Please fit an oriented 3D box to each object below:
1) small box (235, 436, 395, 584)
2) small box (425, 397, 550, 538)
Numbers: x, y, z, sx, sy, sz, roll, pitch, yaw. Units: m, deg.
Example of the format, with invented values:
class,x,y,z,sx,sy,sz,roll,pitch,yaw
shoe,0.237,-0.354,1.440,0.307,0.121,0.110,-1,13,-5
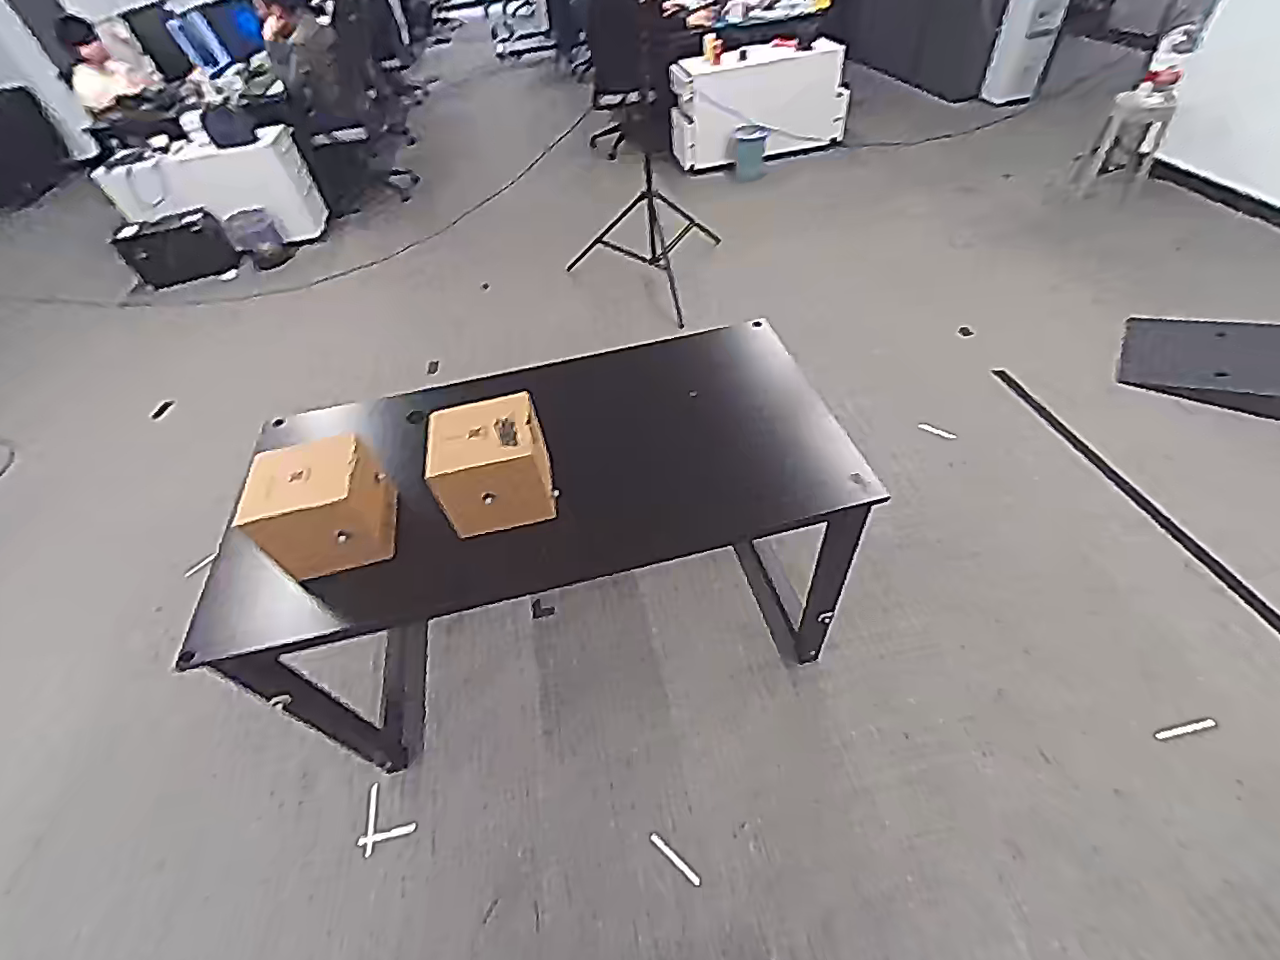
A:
class,x,y,z,sx,sy,sz,roll,pitch,yaw
small box,-0.549,0.055,0.946,0.179,0.176,0.168,-15,47,-6
small box,-0.265,-0.020,0.975,0.179,0.176,0.168,-13,48,-3
